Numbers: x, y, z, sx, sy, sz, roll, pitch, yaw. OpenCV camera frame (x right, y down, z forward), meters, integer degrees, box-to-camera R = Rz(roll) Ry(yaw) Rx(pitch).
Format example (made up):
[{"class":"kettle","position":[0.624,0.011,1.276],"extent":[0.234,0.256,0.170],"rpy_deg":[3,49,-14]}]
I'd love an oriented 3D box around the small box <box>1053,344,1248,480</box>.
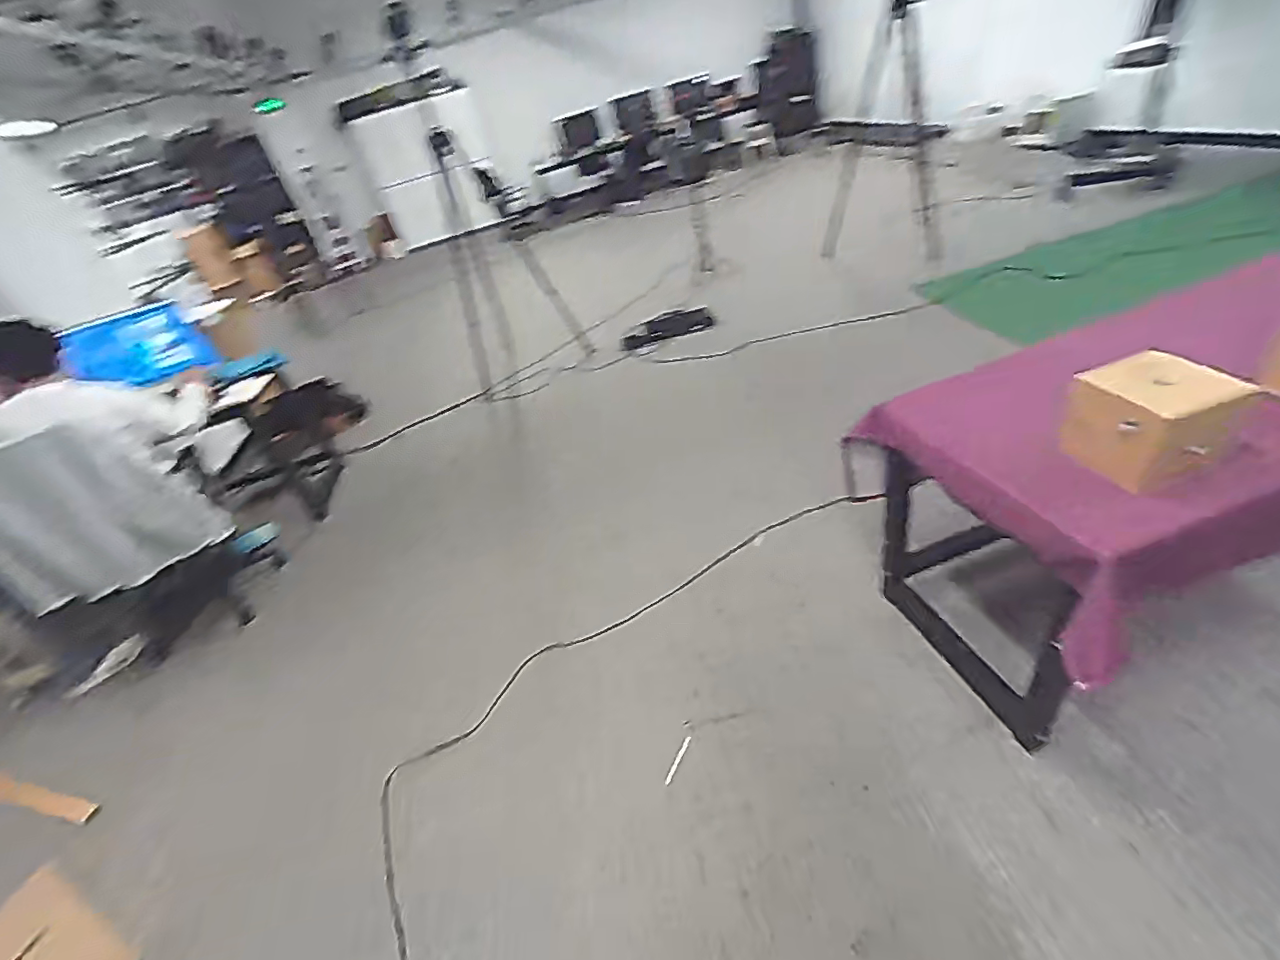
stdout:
[{"class":"small box","position":[0.908,-0.118,0.984],"extent":[0.168,0.176,0.179],"rpy_deg":[-19,36,-3]}]

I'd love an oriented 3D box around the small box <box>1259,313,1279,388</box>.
[{"class":"small box","position":[1.315,-0.249,0.990],"extent":[0.179,0.176,0.168],"rpy_deg":[-20,36,-4]}]
